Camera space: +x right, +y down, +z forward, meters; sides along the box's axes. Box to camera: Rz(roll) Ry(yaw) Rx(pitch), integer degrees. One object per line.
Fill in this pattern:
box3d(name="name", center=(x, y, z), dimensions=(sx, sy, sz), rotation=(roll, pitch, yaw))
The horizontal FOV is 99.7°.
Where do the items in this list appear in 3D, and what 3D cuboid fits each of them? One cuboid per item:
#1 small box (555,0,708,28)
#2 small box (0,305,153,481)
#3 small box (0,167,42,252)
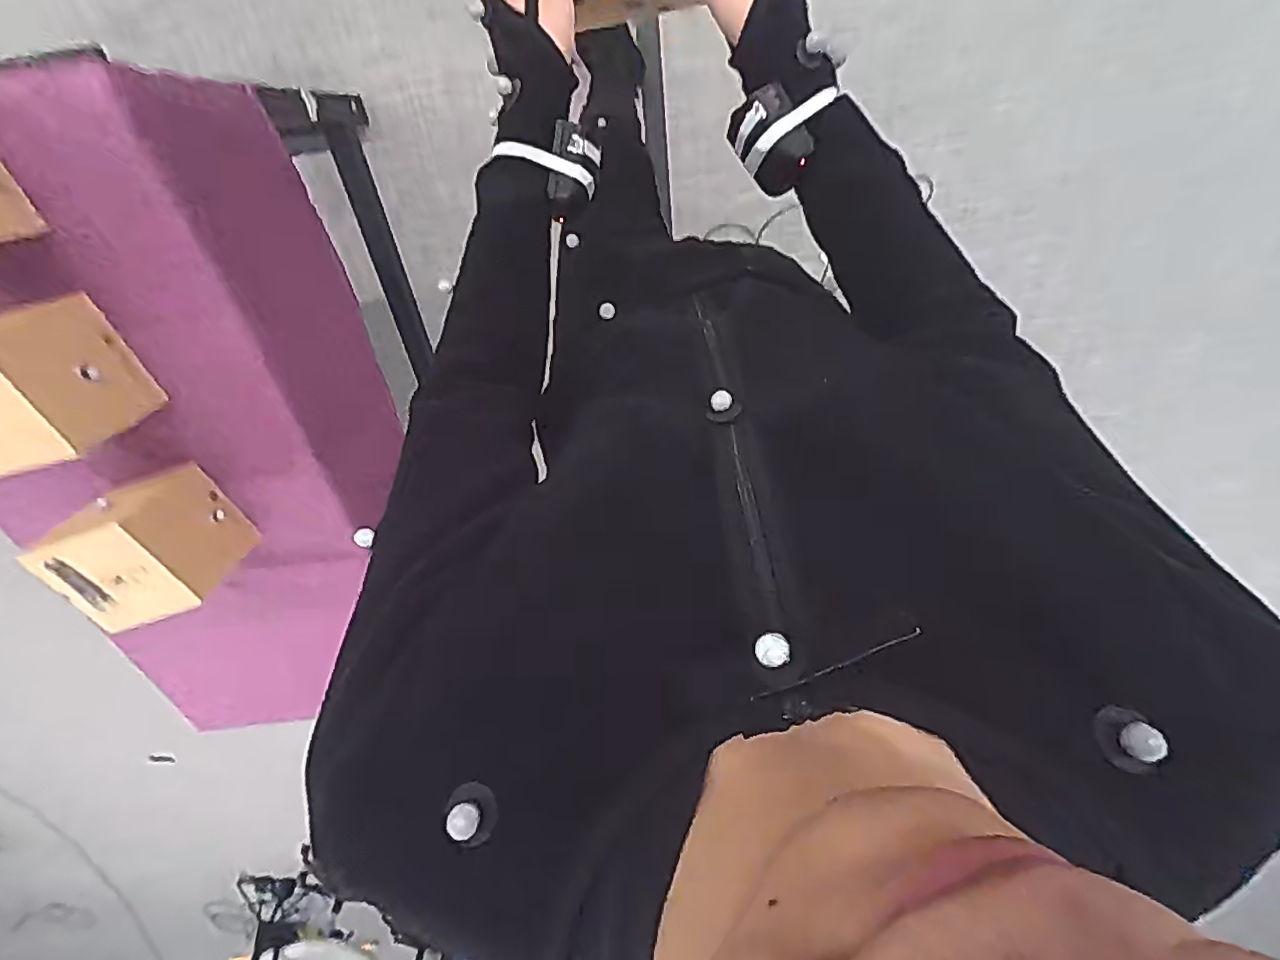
box3d(name="small box", center=(-0.015, -0.509, 0.433), dimensions=(0.168, 0.176, 0.179), rotation=(-6, 116, 6))
box3d(name="small box", center=(-0.807, -0.115, 0.712), dimensions=(0.179, 0.176, 0.168), rotation=(-12, 123, 6))
box3d(name="small box", center=(-0.841, -0.313, 0.581), dimensions=(0.179, 0.176, 0.168), rotation=(-10, 125, 6))
